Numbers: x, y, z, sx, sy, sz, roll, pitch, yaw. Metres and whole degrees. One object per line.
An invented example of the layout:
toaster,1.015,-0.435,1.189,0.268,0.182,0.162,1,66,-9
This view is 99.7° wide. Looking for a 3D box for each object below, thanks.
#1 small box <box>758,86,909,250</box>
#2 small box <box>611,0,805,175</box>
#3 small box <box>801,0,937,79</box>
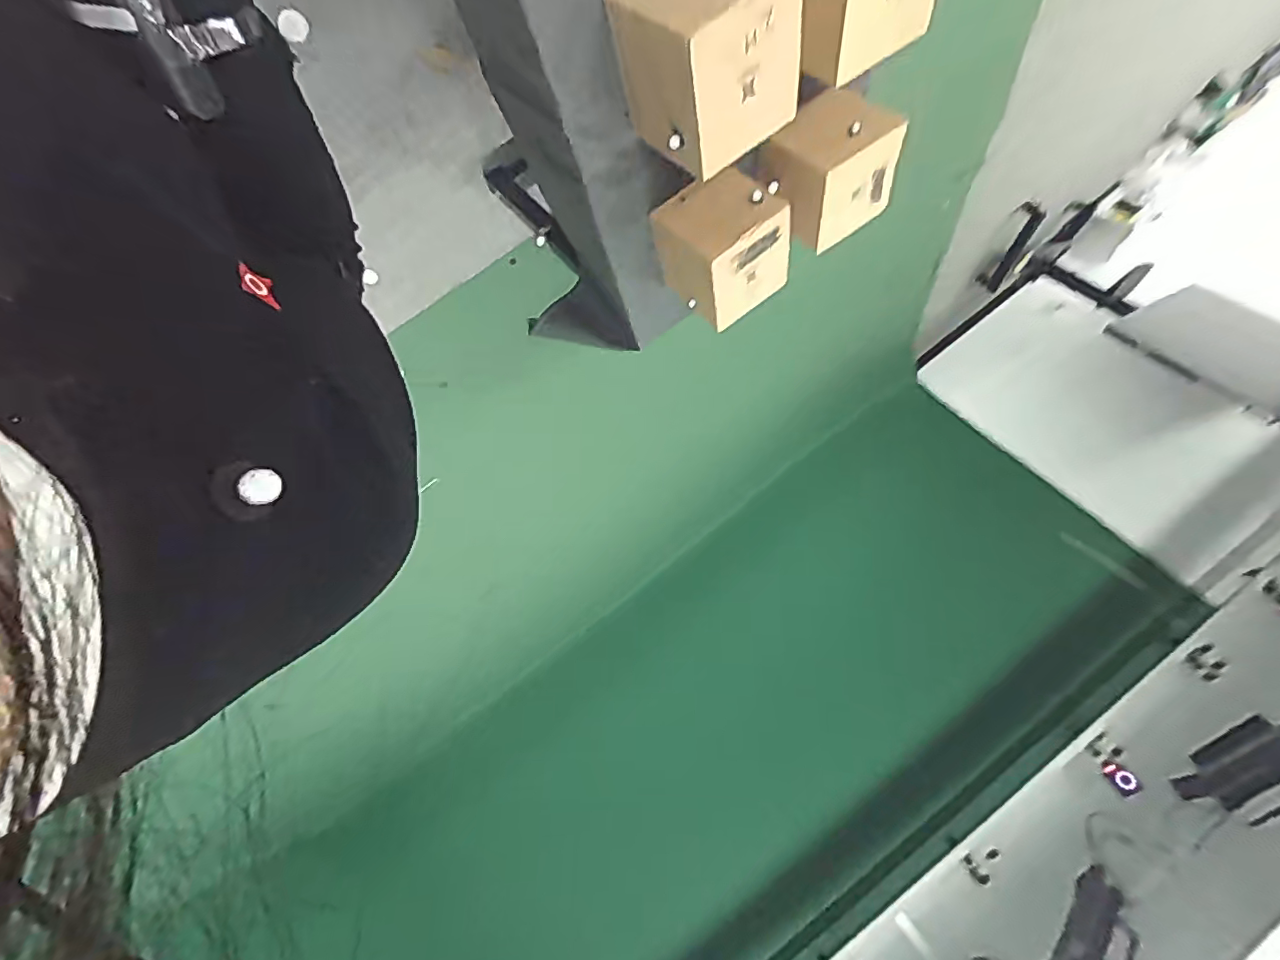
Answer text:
small box,0.339,-0.566,0.979,0.179,0.176,0.168,-35,152,-7
small box,0.087,-0.546,0.693,0.168,0.176,0.179,-37,153,-6
small box,0.283,-0.690,0.723,0.179,0.176,0.168,-36,153,-8
